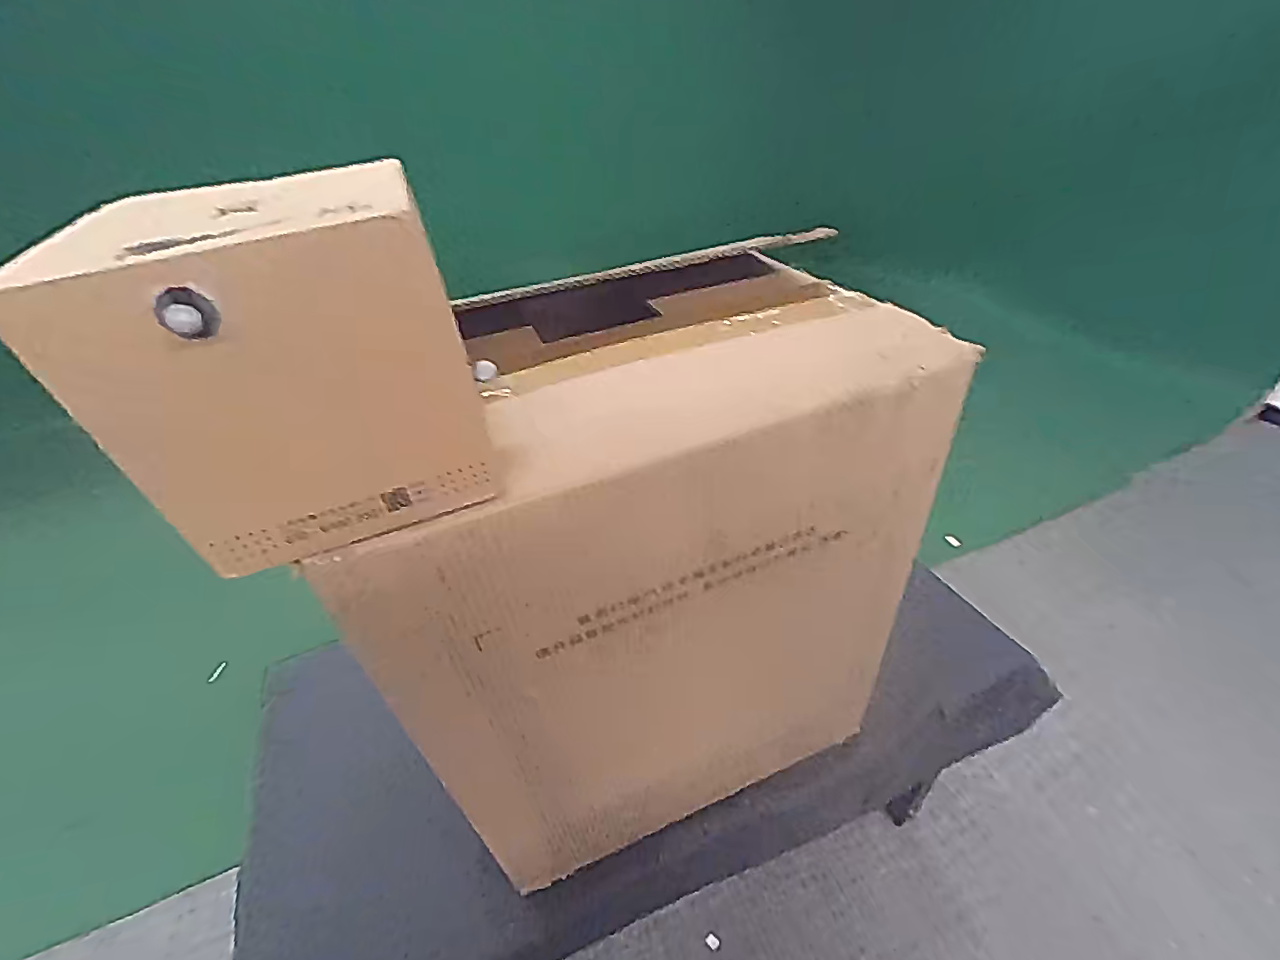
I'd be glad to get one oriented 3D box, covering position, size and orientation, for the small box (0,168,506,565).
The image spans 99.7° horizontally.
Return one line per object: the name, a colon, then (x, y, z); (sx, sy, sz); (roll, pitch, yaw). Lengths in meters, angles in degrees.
small box: (-0.196, -0.079, 0.340); (0.168, 0.176, 0.179); (-19, 40, -12)
